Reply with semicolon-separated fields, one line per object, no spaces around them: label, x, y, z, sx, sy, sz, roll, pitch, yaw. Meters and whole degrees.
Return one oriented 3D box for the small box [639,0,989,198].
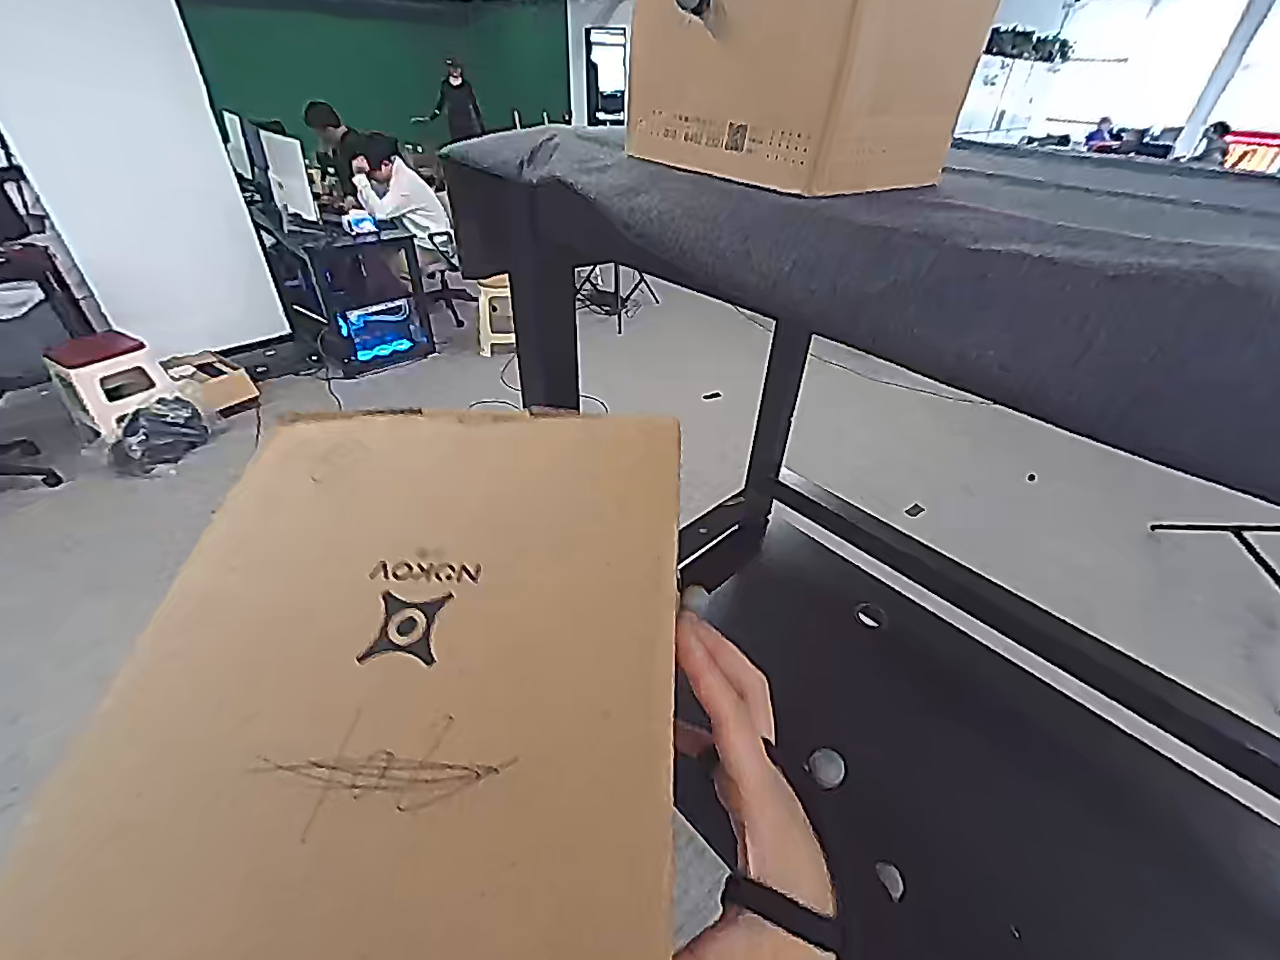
small box;0.112;-0.294;0.359;0.179;0.176;0.168;-25;46;-36

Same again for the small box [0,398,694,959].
small box;-0.064;0.085;0.230;0.168;0.176;0.179;0;54;3
